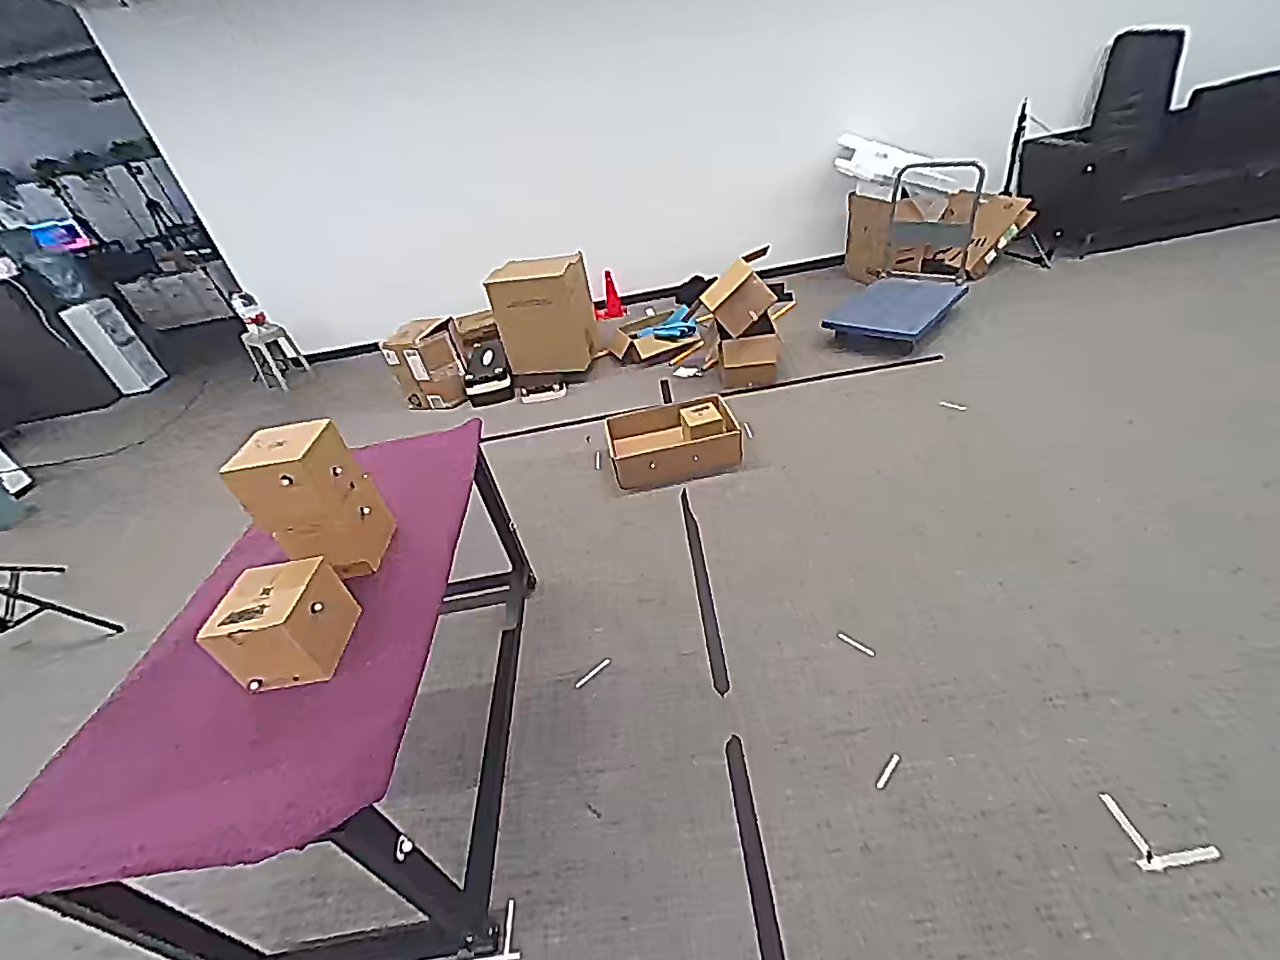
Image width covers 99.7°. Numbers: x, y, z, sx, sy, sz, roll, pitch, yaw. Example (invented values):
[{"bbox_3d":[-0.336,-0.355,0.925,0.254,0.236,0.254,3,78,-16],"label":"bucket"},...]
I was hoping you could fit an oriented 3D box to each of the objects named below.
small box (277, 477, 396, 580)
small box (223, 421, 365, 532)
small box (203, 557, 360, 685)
[{"bbox_3d":[-0.712,0.119,1.296,0.168,0.176,0.179,-10,36,3],"label":"small box"},{"bbox_3d":[-0.747,-0.006,1.194,0.179,0.176,0.168,-10,36,3],"label":"small box"},{"bbox_3d":[-0.685,0.282,1.063,0.168,0.176,0.179,-10,35,2],"label":"small box"}]
